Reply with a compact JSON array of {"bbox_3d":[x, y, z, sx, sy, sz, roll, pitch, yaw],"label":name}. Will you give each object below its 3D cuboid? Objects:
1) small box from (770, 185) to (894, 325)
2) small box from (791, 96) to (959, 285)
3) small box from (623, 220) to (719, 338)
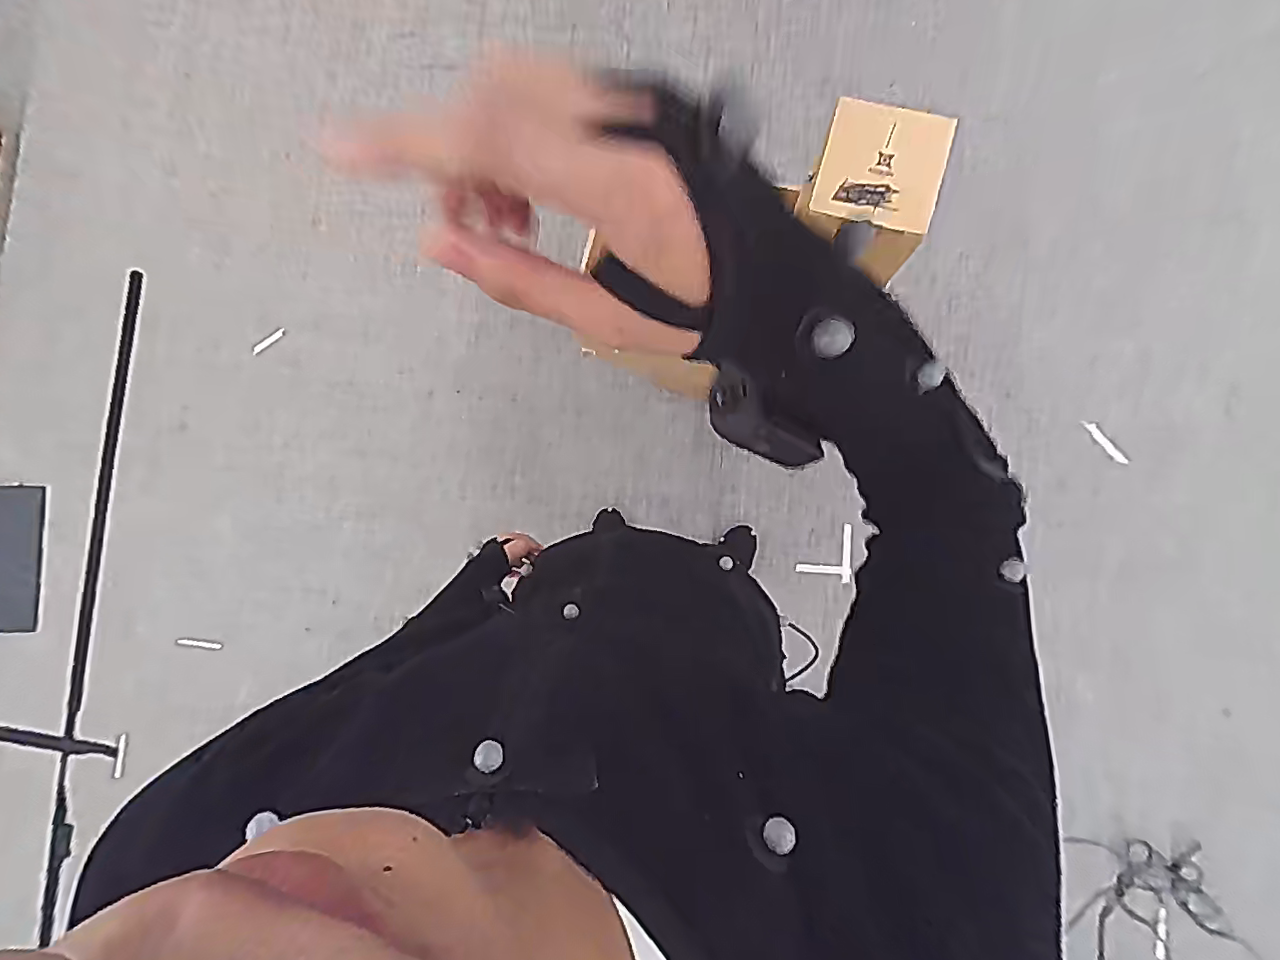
[{"bbox_3d":[0.349,-0.396,0.979,0.179,0.176,0.168,12,87,4],"label":"small box"},{"bbox_3d":[0.339,-0.422,0.816,0.168,0.176,0.179,16,87,5],"label":"small box"},{"bbox_3d":[0.069,-0.426,1.172,0.168,0.176,0.179,13,86,5],"label":"small box"}]
